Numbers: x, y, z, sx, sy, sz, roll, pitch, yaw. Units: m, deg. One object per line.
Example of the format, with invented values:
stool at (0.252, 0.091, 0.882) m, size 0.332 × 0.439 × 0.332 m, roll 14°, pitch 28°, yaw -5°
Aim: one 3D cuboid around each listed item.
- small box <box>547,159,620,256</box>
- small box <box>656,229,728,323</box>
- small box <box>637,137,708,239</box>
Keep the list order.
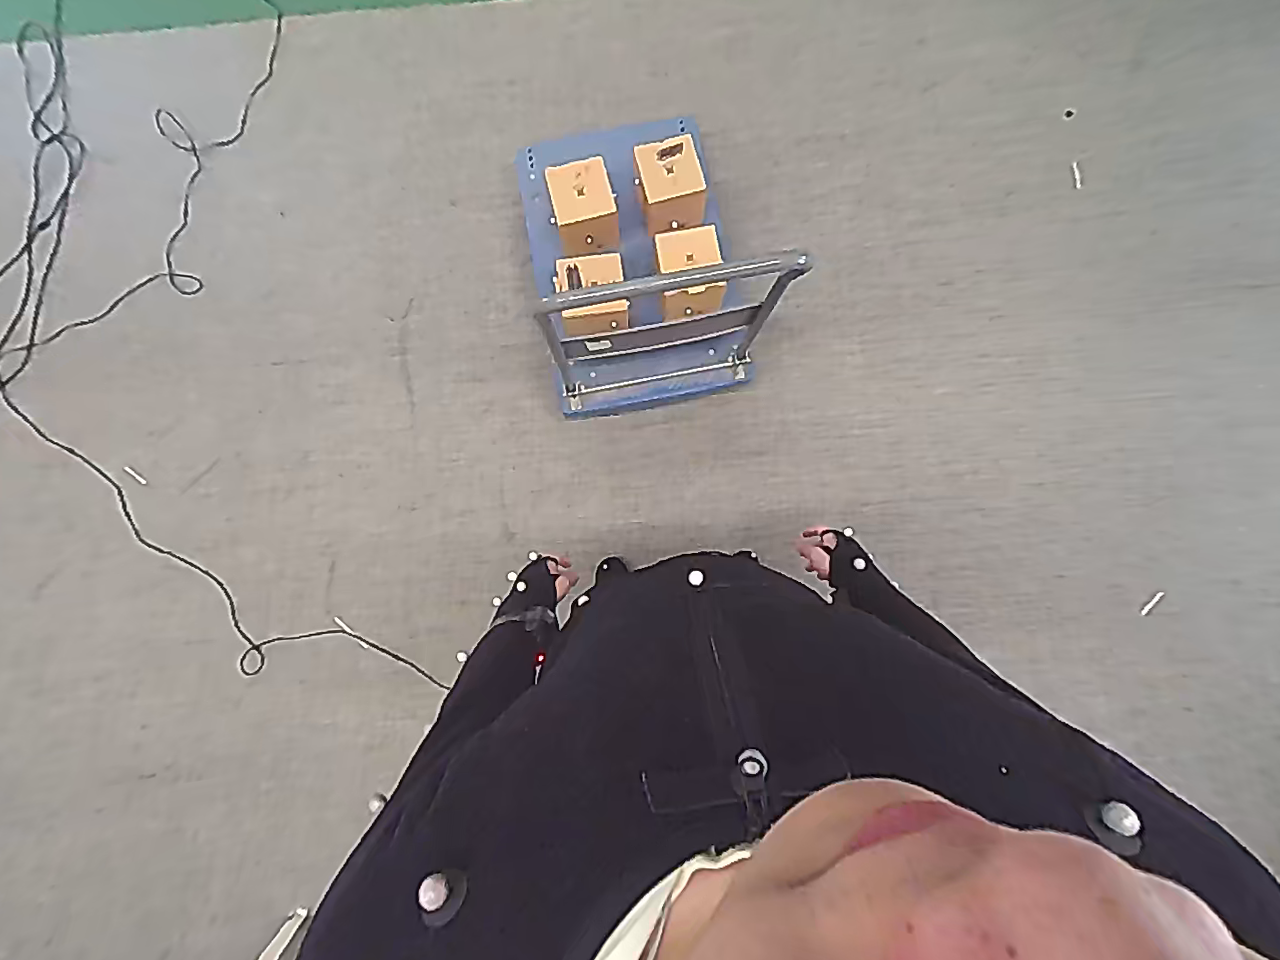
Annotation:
small box at (-0.156, -0.764, 1.542) m, size 0.168 × 0.176 × 0.179 m, roll -14°, pitch 82°, yaw -2°
small box at (0.139, -0.566, 1.511) m, size 0.168 × 0.176 × 0.179 m, roll -10°, pitch 82°, yaw -1°
small box at (0.088, -0.829, 1.547) m, size 0.168 × 0.176 × 0.179 m, roll -14°, pitch 83°, yaw 0°
